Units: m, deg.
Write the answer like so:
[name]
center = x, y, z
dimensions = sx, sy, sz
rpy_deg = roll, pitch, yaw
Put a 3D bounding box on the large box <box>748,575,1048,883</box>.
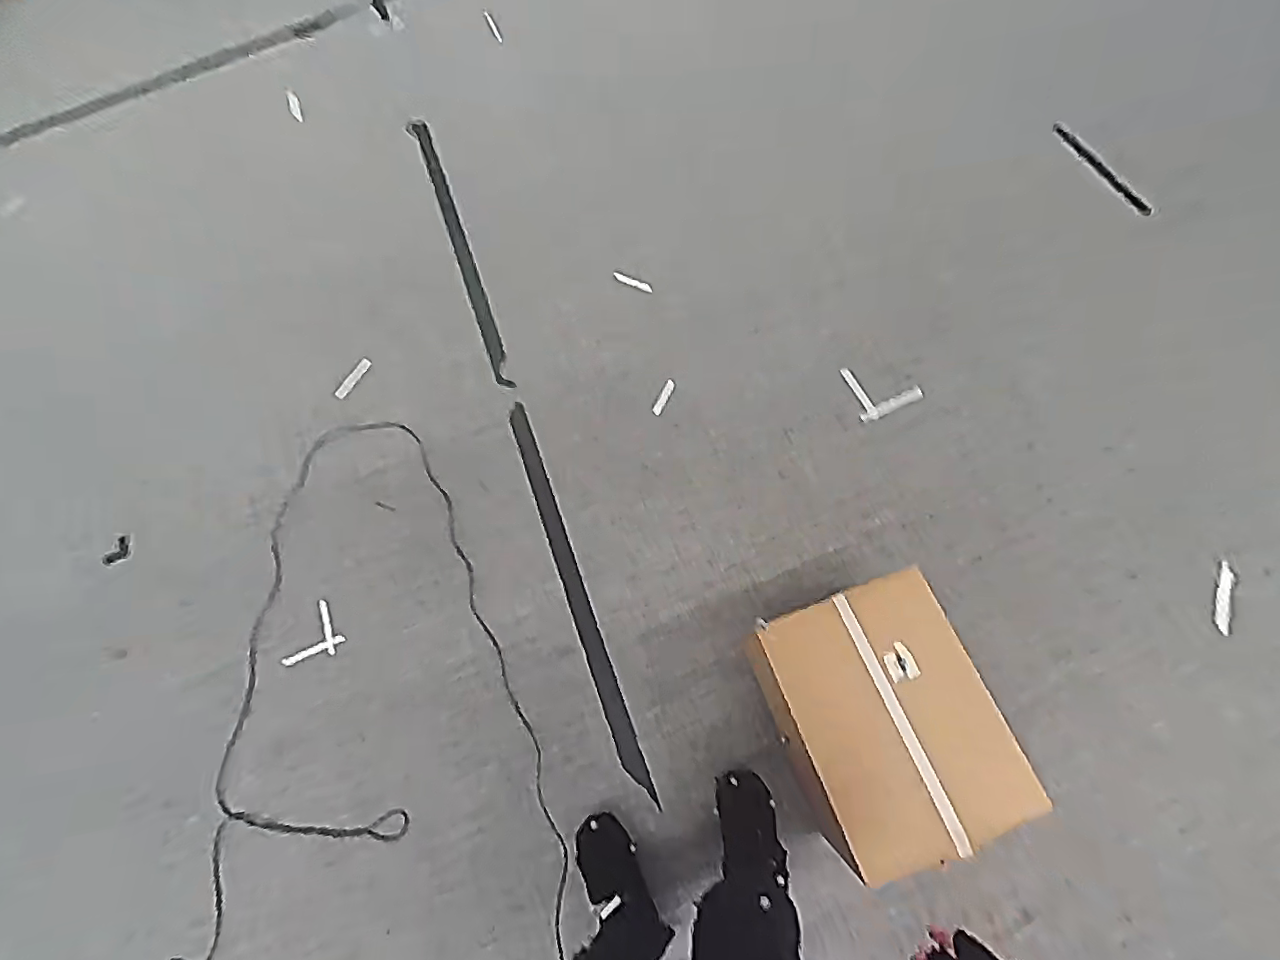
[large box]
center = 0.438, 0.448, 1.037
dimensions = 0.320, 0.320, 0.408
rpy_deg = -20, 68, -3
